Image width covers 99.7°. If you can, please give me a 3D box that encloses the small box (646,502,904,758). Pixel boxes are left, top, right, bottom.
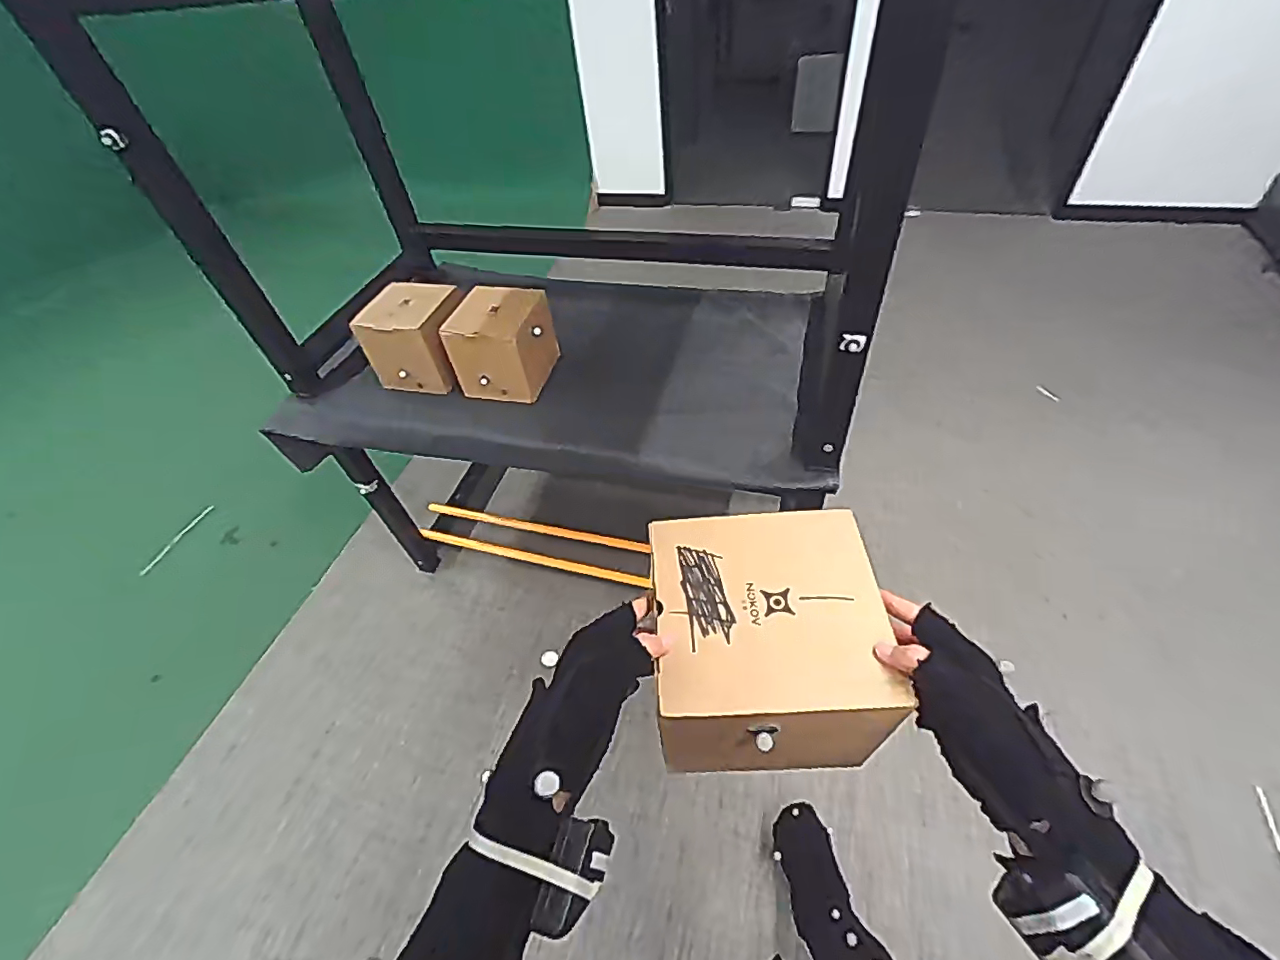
[{"bbox_3d":[0.099,0.138,0.481,0.179,0.176,0.168,-3,49,2],"label":"small box"}]

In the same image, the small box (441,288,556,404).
[{"bbox_3d":[-0.292,-0.290,1.166,0.168,0.176,0.179,7,50,13],"label":"small box"}]

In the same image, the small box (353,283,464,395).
[{"bbox_3d":[-0.489,-0.316,1.209,0.168,0.176,0.179,7,50,13],"label":"small box"}]
